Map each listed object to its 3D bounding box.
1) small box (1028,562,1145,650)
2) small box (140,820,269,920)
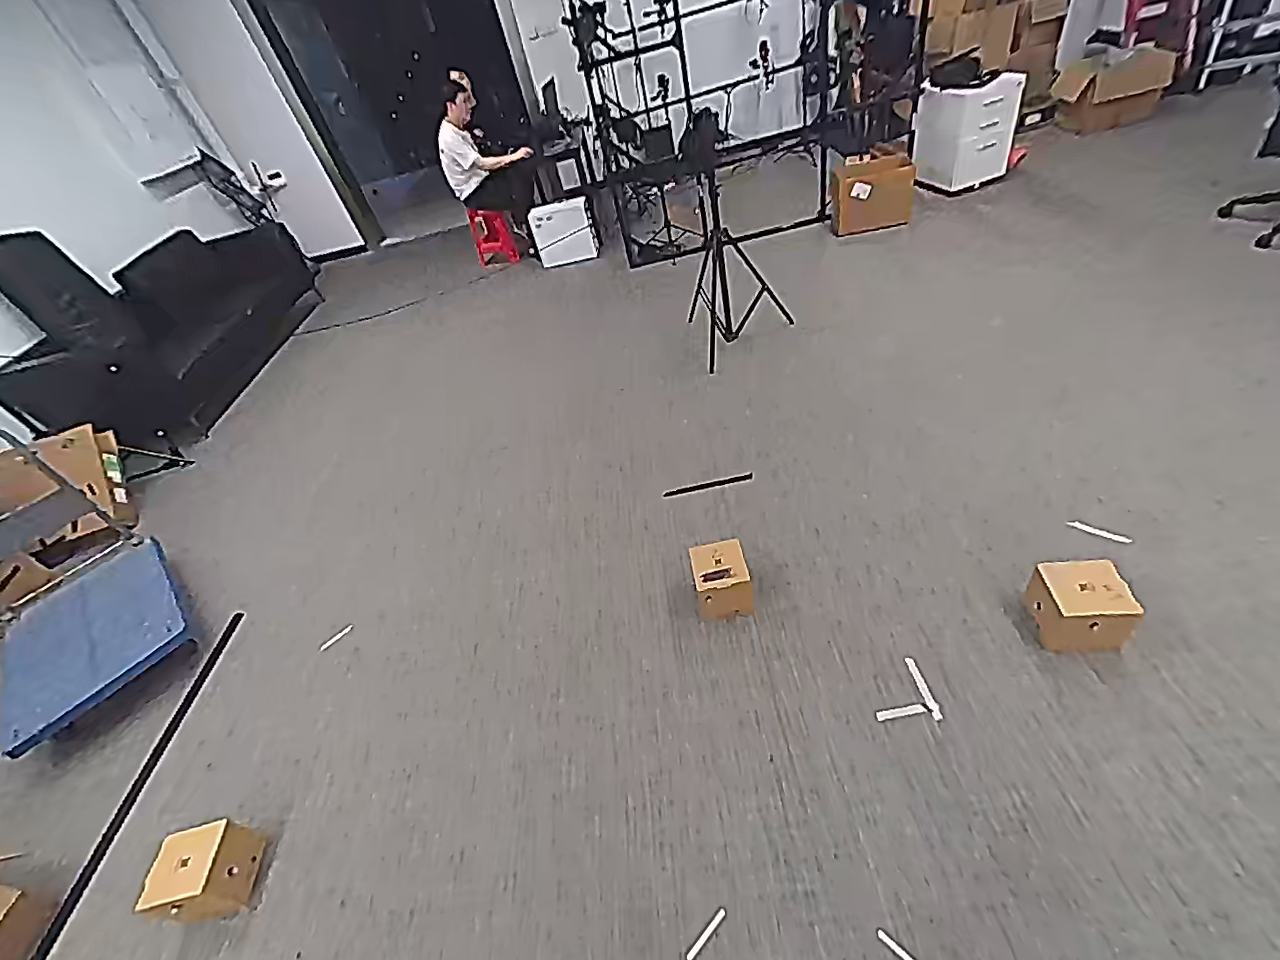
[{"bbox_3d":[1.160,0.335,1.425,0.179,0.176,0.168,-5,43,13],"label":"small box"},{"bbox_3d":[-1.133,1.031,1.426,0.179,0.176,0.168,-16,41,1],"label":"small box"}]
